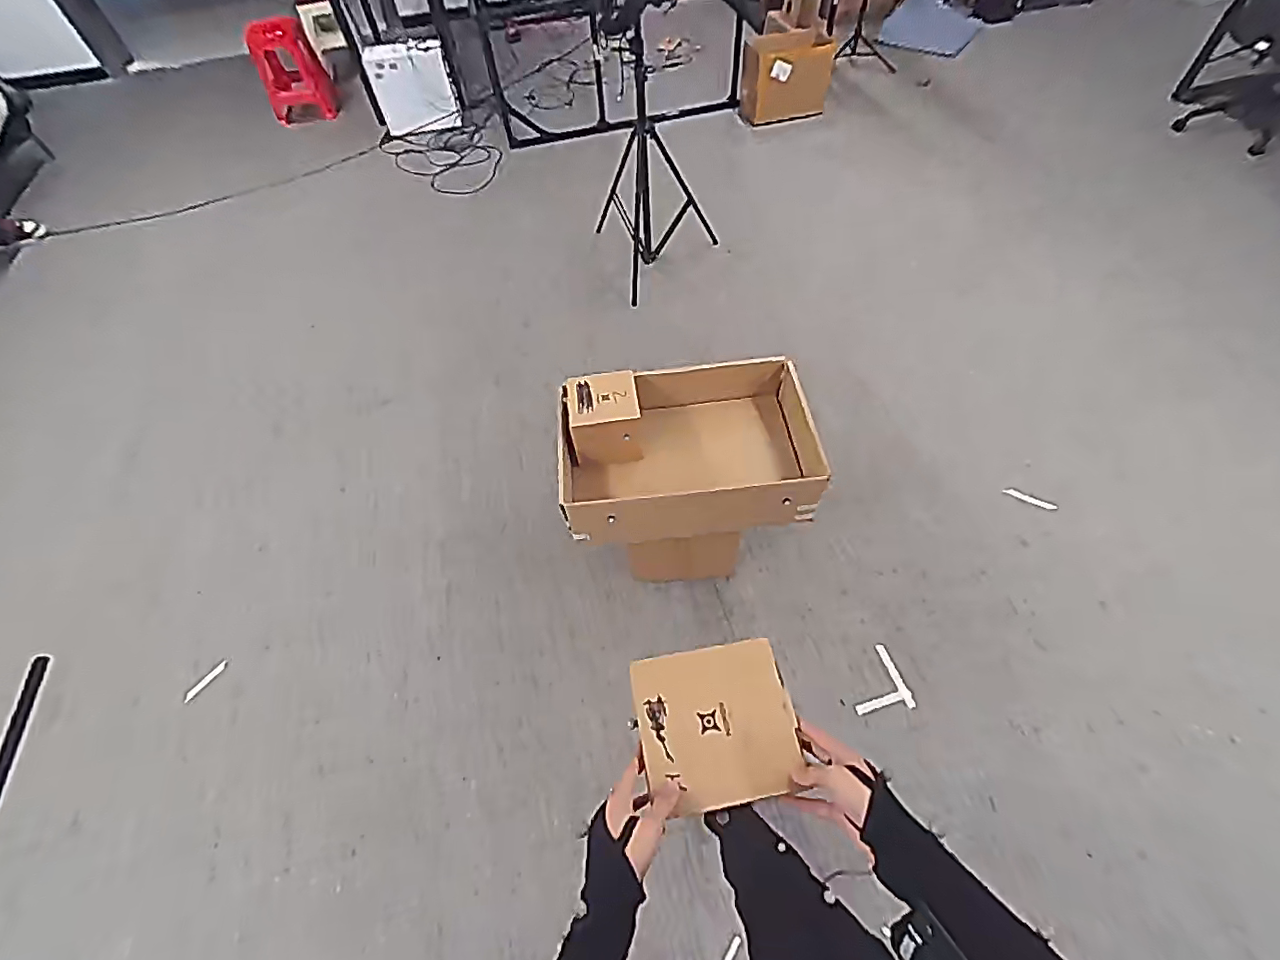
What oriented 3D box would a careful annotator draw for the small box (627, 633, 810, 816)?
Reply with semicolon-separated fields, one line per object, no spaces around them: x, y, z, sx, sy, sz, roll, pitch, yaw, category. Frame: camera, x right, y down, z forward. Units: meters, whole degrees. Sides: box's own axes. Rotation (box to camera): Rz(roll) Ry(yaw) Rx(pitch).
0.081;0.305;0.670;0.179;0.176;0.168;-8;57;-6;small box
